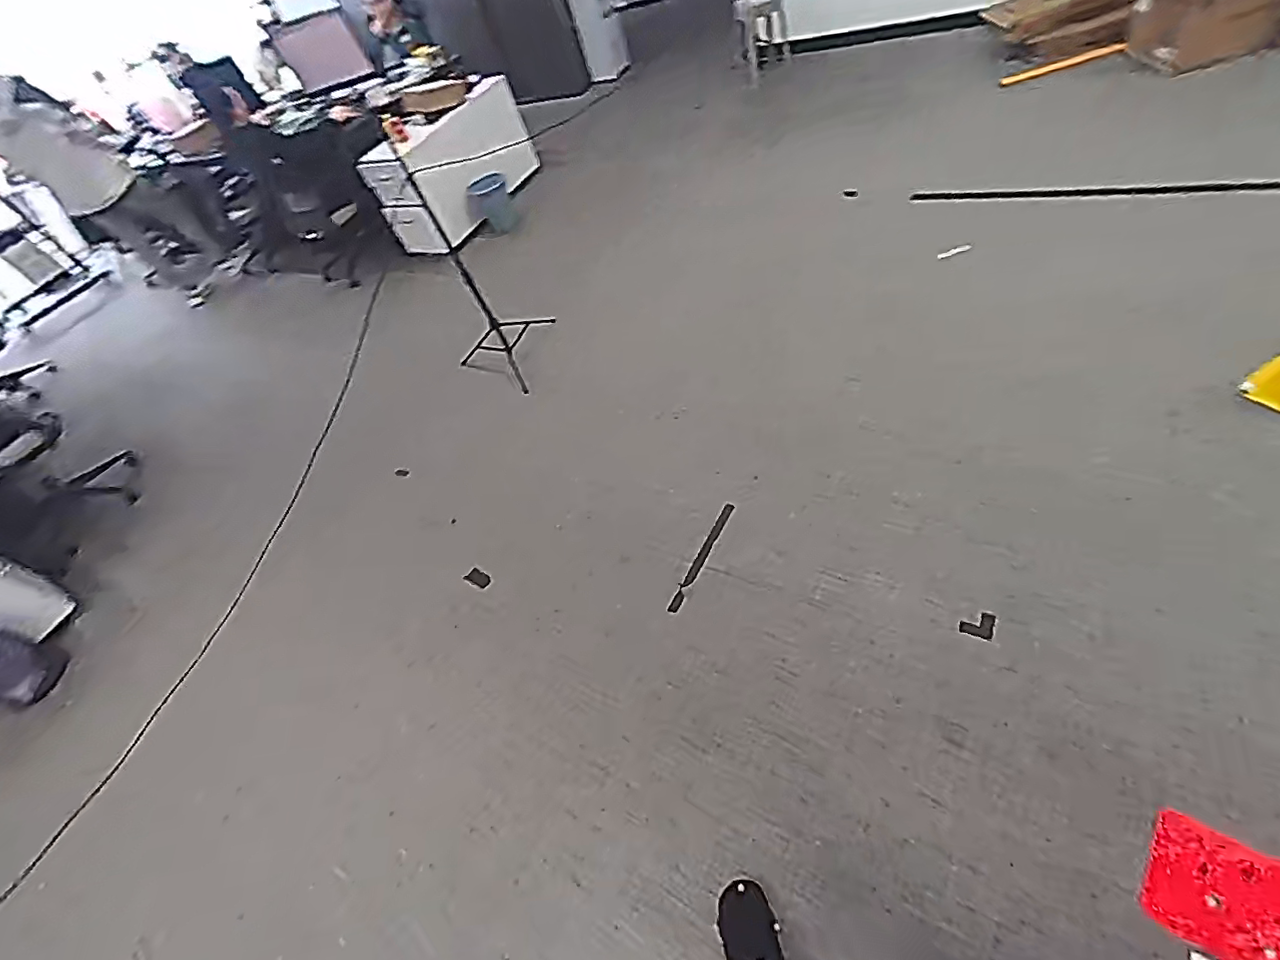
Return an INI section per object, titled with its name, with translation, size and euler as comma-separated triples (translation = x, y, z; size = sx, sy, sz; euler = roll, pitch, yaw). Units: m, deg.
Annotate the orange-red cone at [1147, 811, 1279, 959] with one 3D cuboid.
[orange-red cone]
translation = 0.971, 0.613, 0.807
size = 0.198, 0.360, 0.199
euler = 23, 63, 33
